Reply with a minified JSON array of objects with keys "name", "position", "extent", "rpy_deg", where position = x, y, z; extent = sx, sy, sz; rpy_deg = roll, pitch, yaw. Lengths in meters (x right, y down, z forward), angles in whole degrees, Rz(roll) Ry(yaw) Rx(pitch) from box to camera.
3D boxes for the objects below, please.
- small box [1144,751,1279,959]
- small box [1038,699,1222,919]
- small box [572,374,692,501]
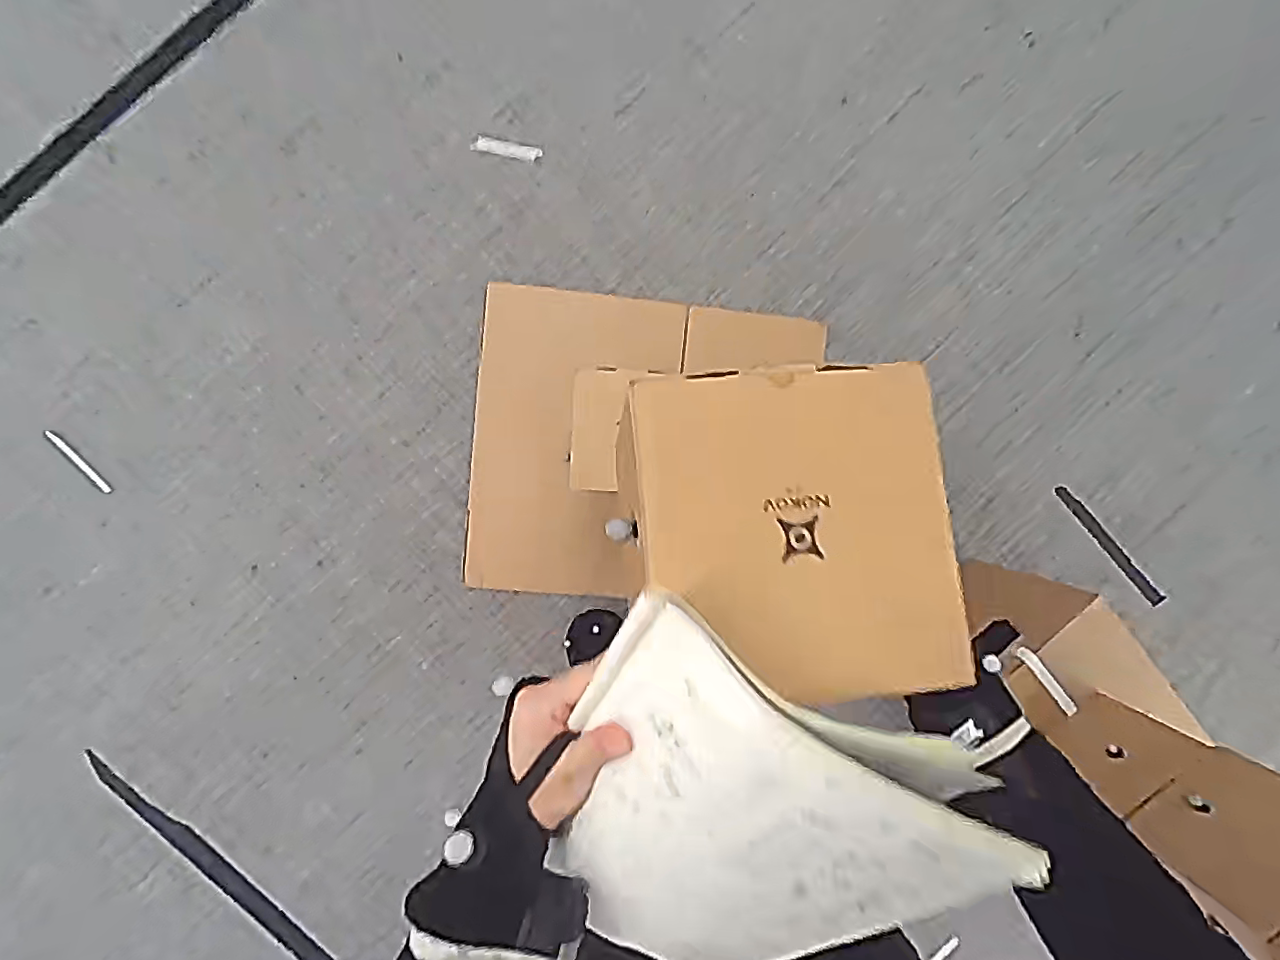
[{"name":"small box","position":[0.753,0.467,0.629],"extent":[0.179,0.176,0.168],"rpy_deg":[-40,95,0]},{"name":"small box","position":[0.735,0.465,0.792],"extent":[0.179,0.176,0.168],"rpy_deg":[-38,95,-2]},{"name":"small box","position":[-0.017,-0.064,0.849],"extent":[0.168,0.176,0.179],"rpy_deg":[2,92,-5]}]
